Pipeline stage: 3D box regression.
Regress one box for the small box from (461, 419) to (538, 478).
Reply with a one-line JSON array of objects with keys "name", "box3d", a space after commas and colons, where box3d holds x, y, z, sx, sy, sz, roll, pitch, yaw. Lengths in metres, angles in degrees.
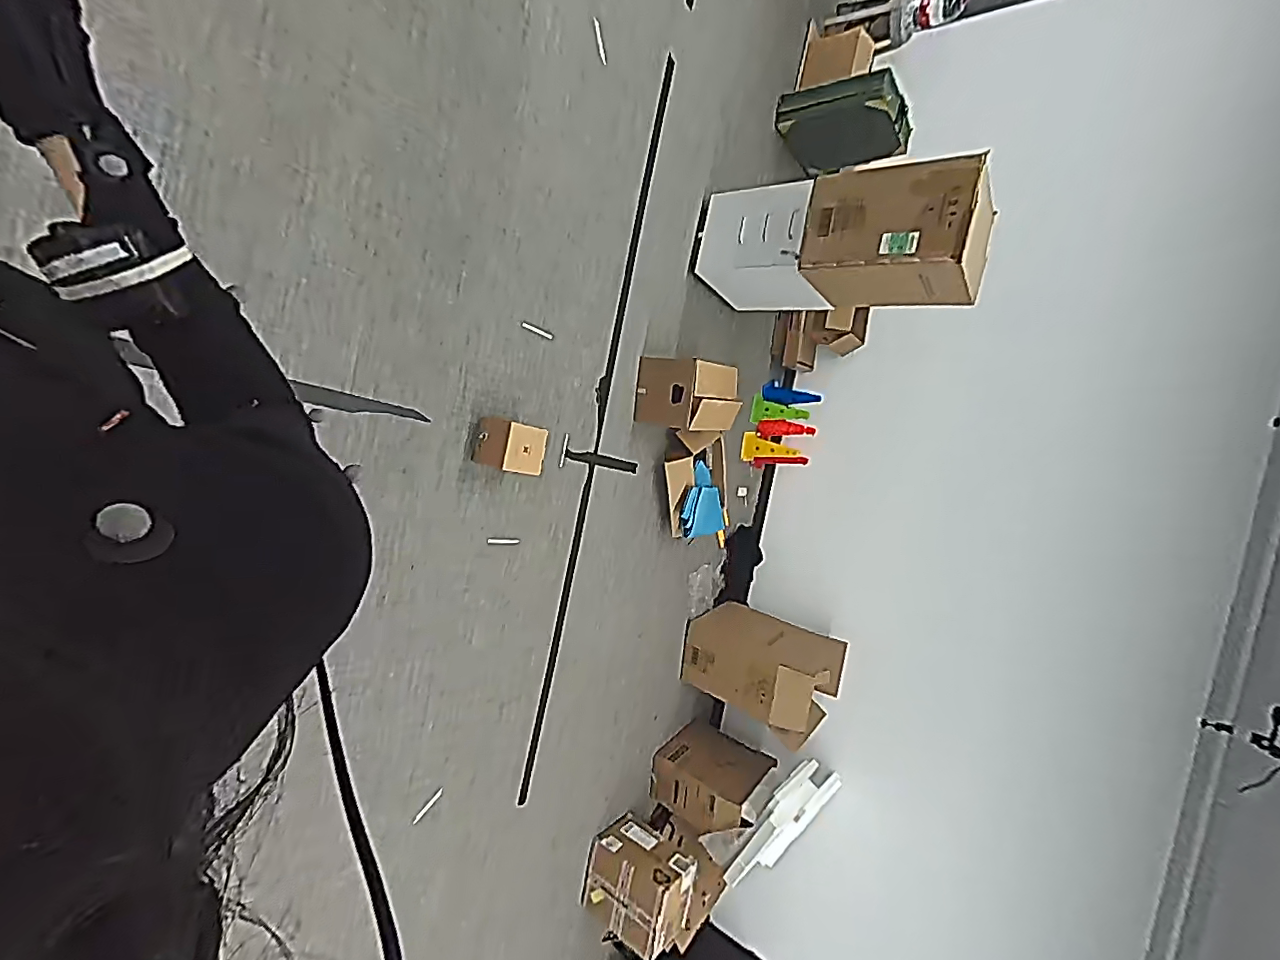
[{"name": "small box", "box3d": [-0.488, -0.111, 1.882, 0.179, 0.176, 0.168, 11, 91, -55]}]
